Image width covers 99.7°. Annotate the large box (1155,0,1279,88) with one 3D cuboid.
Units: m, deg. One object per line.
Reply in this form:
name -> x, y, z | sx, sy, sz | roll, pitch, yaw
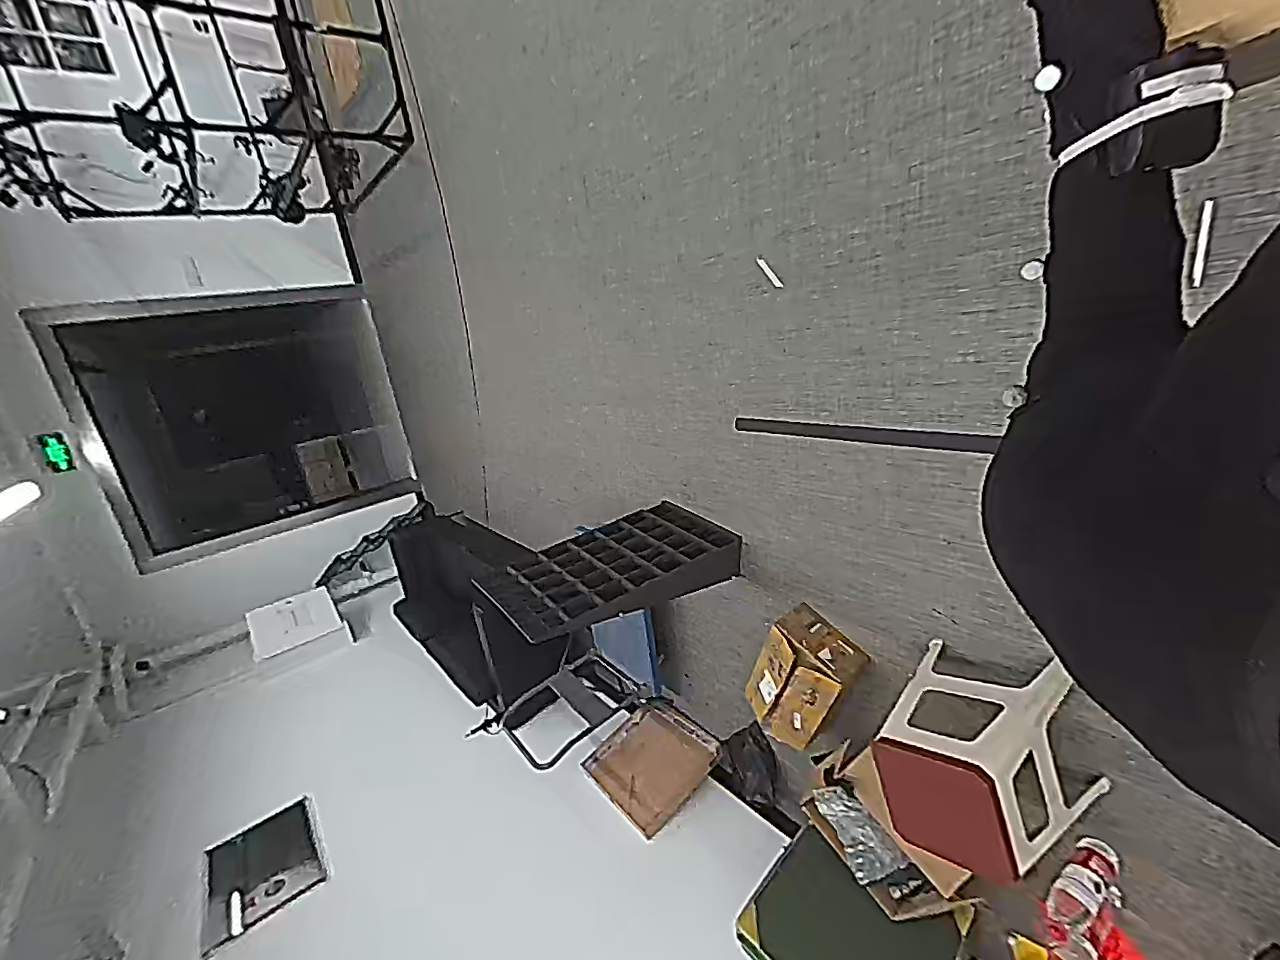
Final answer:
large box -> 0.555, -0.483, 0.273 | 0.408, 0.320, 0.320 | 3, 112, 53
